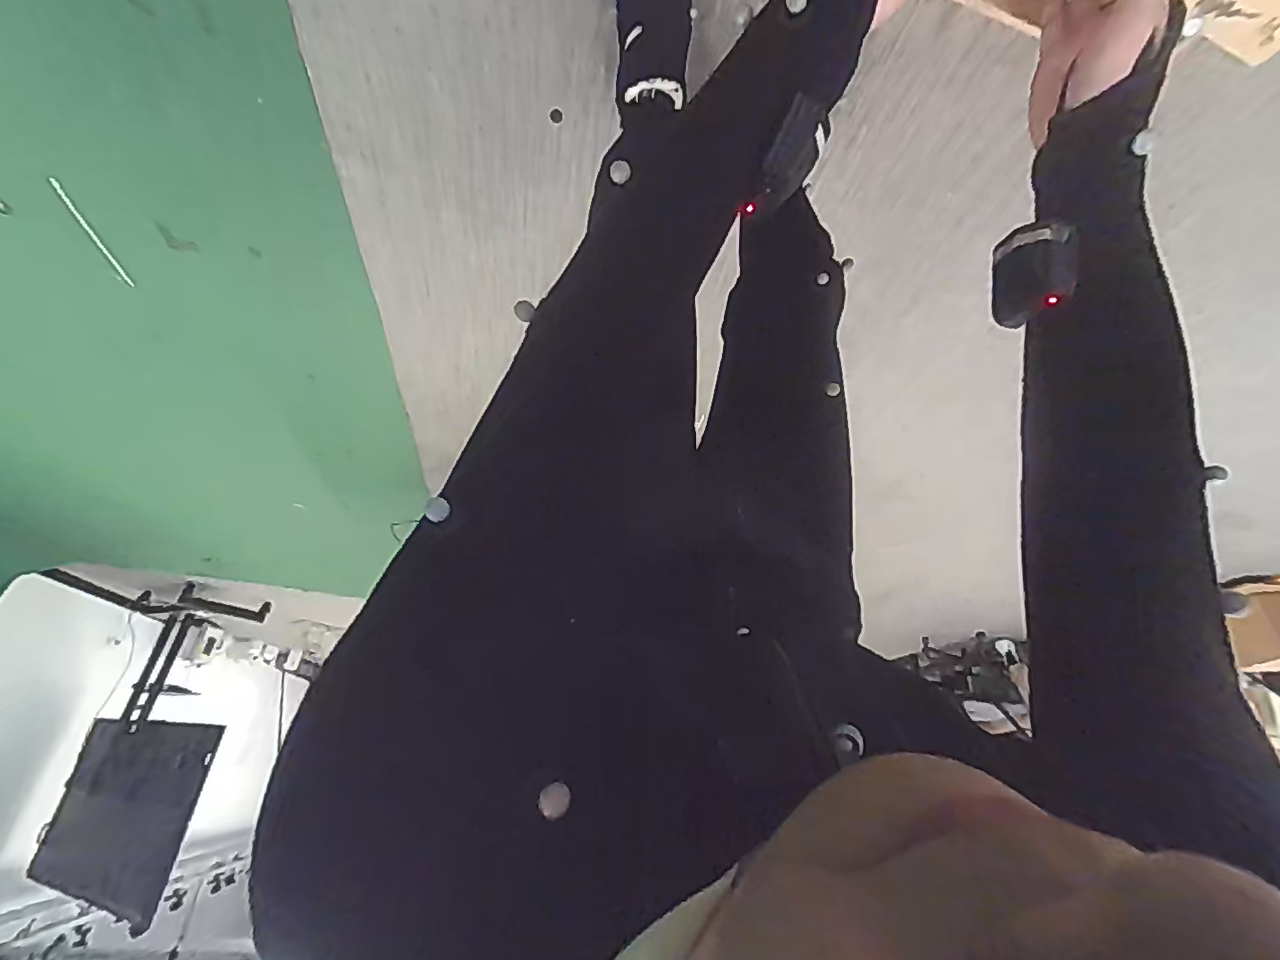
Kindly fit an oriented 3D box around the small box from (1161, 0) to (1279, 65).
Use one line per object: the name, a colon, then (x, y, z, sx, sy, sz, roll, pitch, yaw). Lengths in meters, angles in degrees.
small box: (0.592, -0.546, 0.498, 0.168, 0.176, 0.179, 13, 149, -14)
